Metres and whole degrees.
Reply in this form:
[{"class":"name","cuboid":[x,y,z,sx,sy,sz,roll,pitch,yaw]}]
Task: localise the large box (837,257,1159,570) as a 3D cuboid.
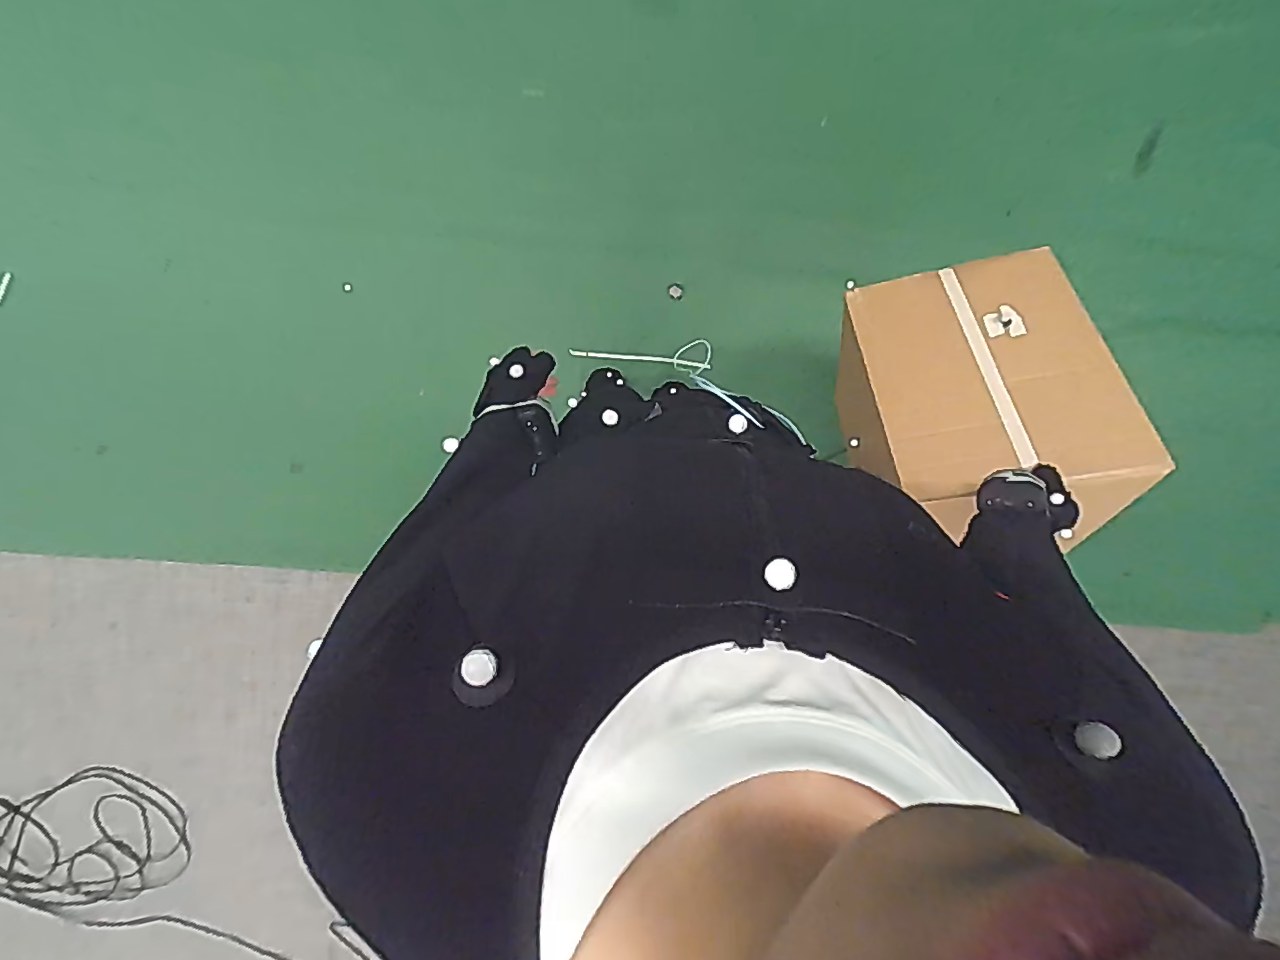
[{"class":"large box","cuboid":[0.545,-0.097,0.936,0.320,0.320,0.408,-9,60,12]}]
